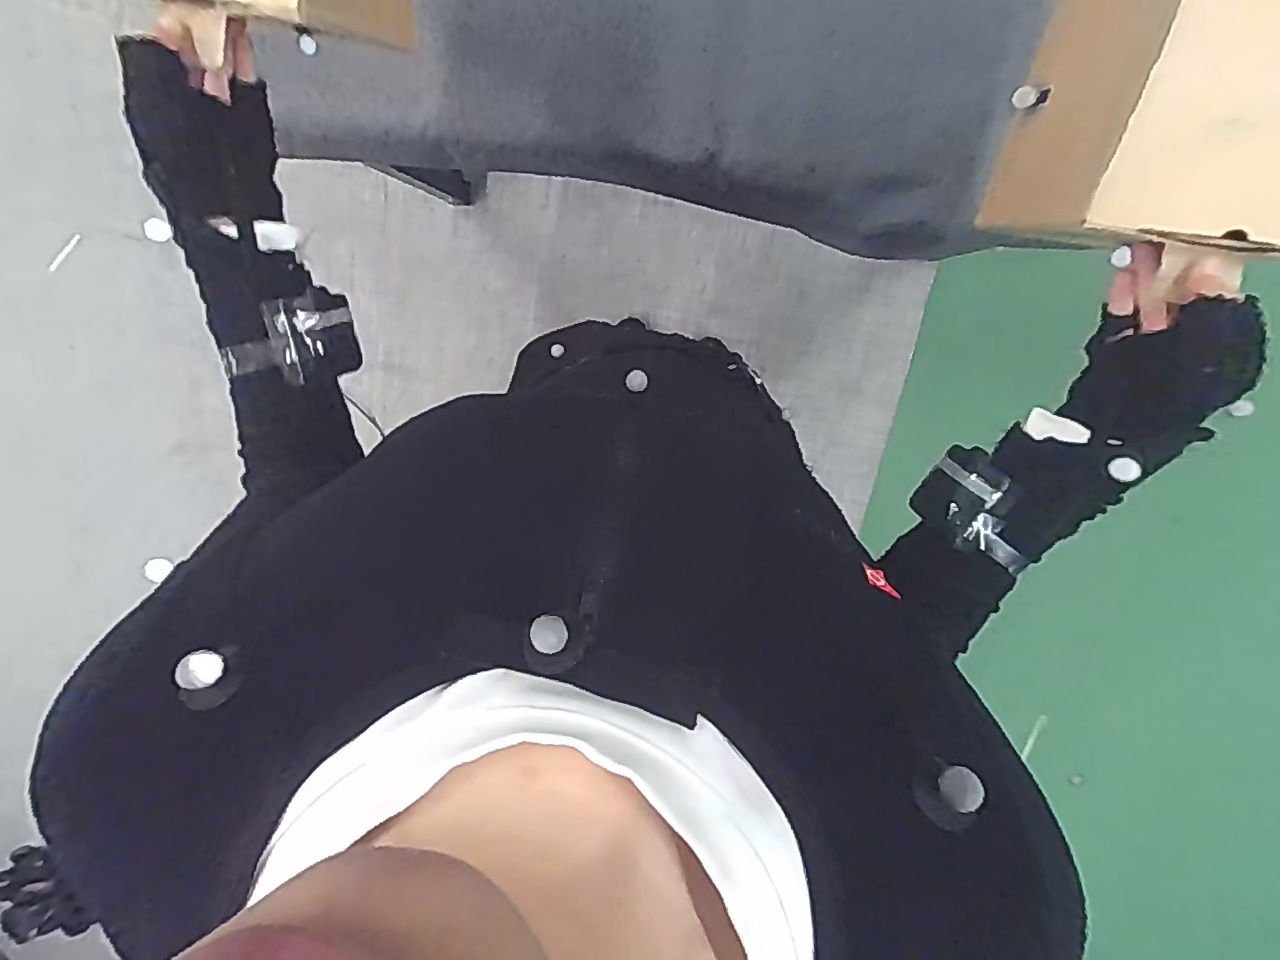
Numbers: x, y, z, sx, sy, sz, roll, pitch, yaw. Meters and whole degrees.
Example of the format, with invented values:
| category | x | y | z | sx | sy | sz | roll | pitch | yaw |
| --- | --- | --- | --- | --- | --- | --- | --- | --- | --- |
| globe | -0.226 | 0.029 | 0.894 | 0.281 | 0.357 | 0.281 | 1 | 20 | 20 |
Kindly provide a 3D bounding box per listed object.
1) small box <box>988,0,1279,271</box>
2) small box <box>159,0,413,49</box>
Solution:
| category | x | y | z | sx | sy | sz | roll | pitch | yaw |
| --- | --- | --- | --- | --- | --- | --- | --- | --- | --- |
| small box | 0.363 | -0.242 | 0.350 | 0.168 | 0.176 | 0.179 | 10 | 117 | 5 |
| small box | -0.262 | -0.405 | 0.346 | 0.168 | 0.176 | 0.179 | 9 | 121 | -1 |
